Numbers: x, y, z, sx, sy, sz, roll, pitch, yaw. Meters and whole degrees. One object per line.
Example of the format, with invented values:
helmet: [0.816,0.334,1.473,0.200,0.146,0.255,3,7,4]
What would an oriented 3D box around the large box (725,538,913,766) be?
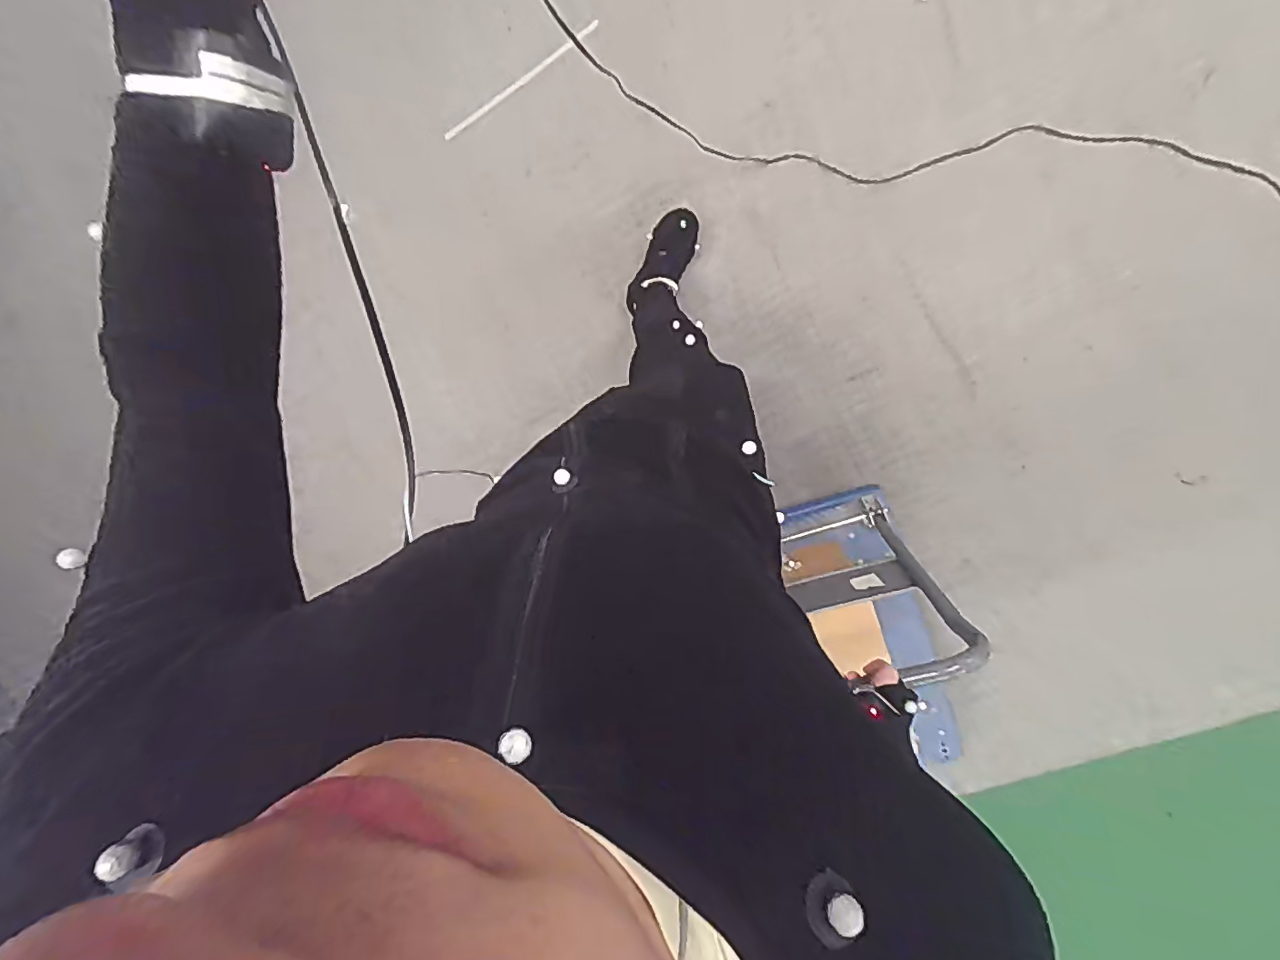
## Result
large box: [0.428,0.418,1.366,0.320,0.320,0.408,-19,103,13]
